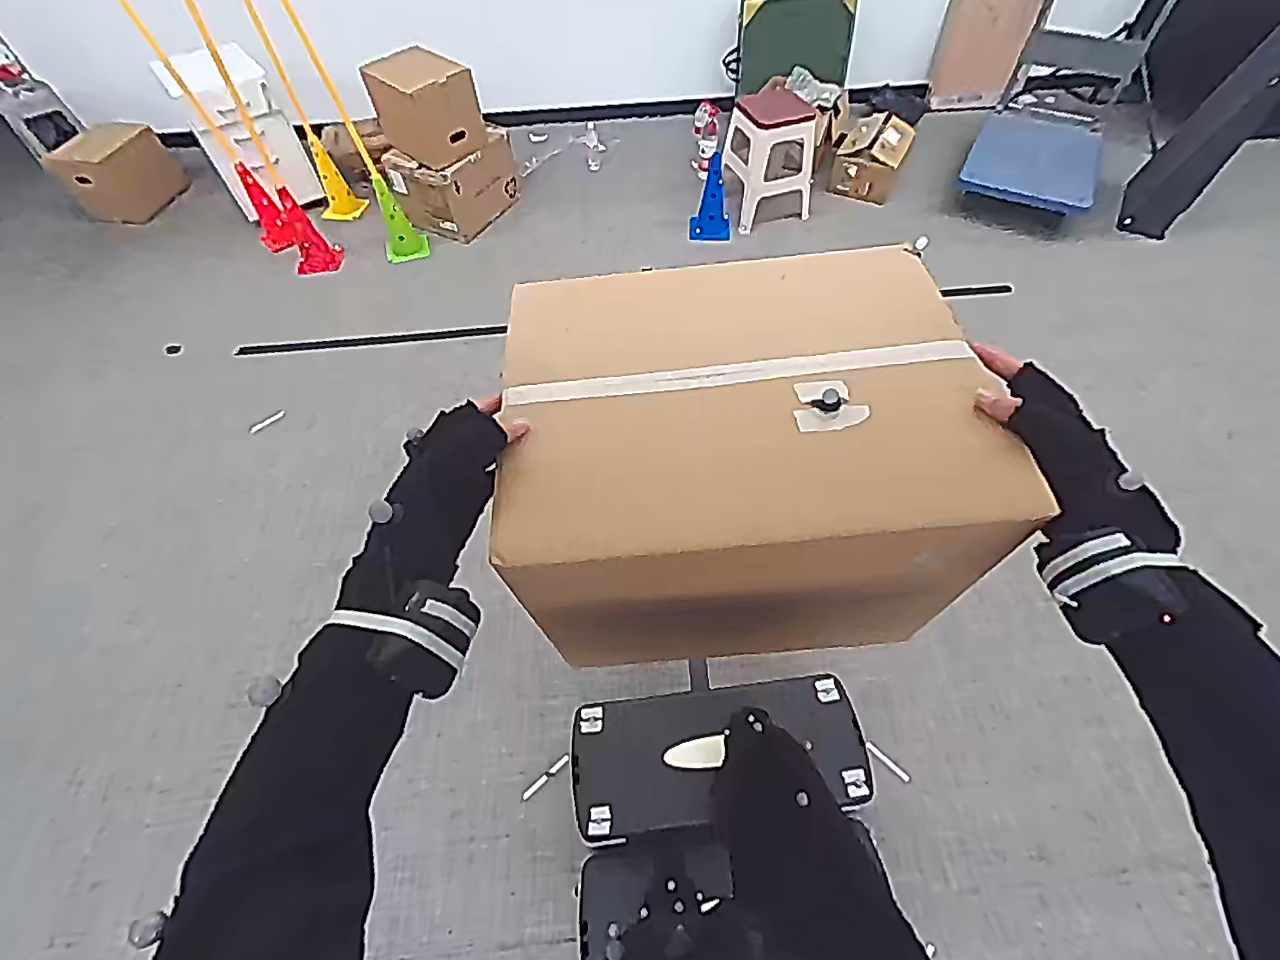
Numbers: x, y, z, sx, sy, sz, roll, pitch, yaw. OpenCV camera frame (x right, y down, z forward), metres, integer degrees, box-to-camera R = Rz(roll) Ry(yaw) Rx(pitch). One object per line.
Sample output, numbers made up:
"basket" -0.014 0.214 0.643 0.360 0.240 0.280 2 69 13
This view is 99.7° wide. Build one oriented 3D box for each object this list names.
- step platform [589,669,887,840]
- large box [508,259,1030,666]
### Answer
"step platform" 0.218 0.654 1.305 0.684 0.204 0.286 -7 56 -4
"large box" 0.092 -0.002 0.607 0.408 0.320 0.320 -6 58 1
